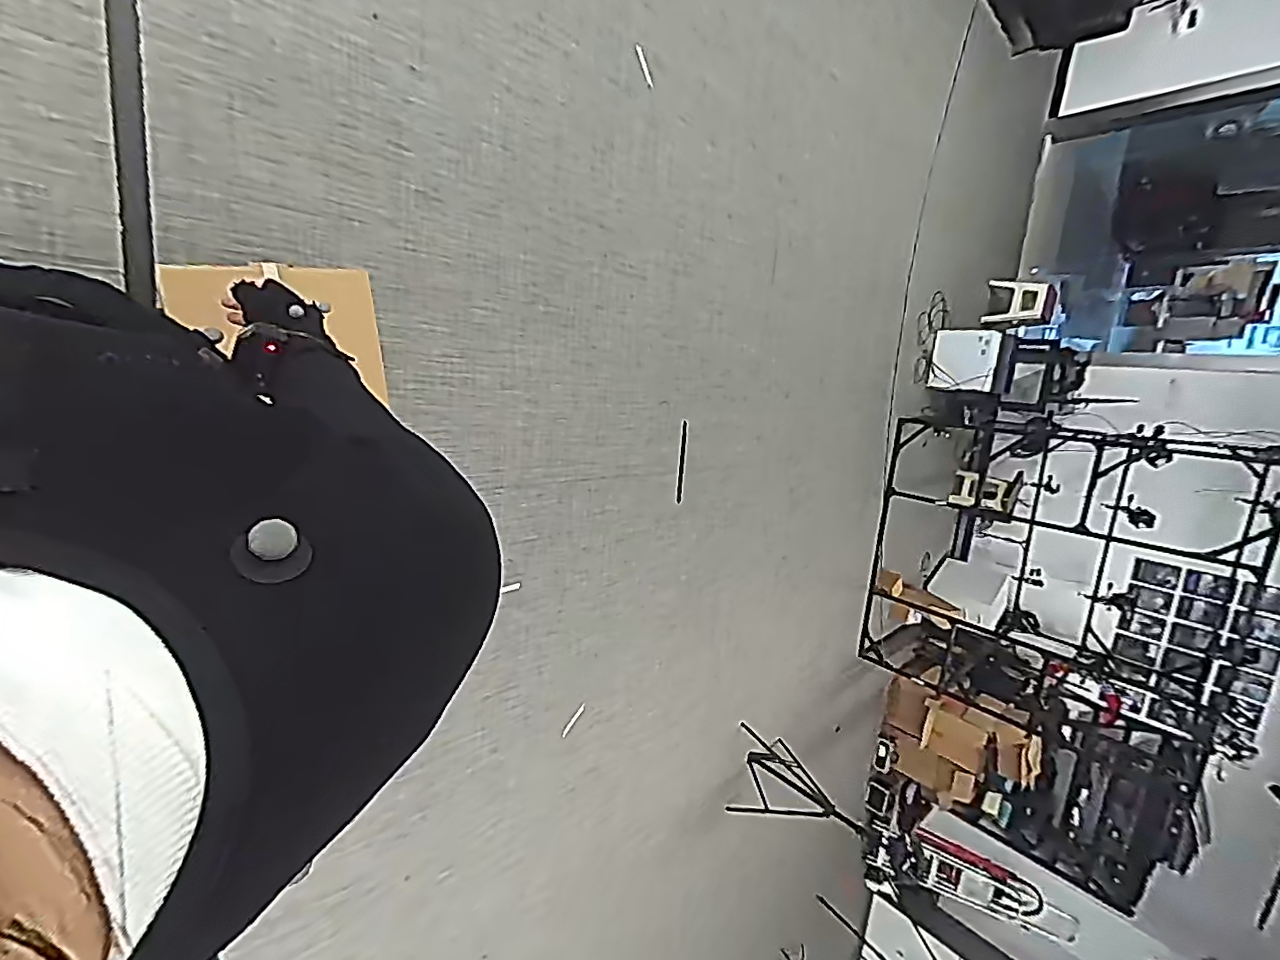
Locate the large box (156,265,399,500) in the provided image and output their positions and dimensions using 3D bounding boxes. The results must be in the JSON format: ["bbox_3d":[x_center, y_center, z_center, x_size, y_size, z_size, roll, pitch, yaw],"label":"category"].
[{"bbox_3d":[-0.725,-0.216,1.107,0.320,0.320,0.408,-13,111,-34],"label":"large box"}]
